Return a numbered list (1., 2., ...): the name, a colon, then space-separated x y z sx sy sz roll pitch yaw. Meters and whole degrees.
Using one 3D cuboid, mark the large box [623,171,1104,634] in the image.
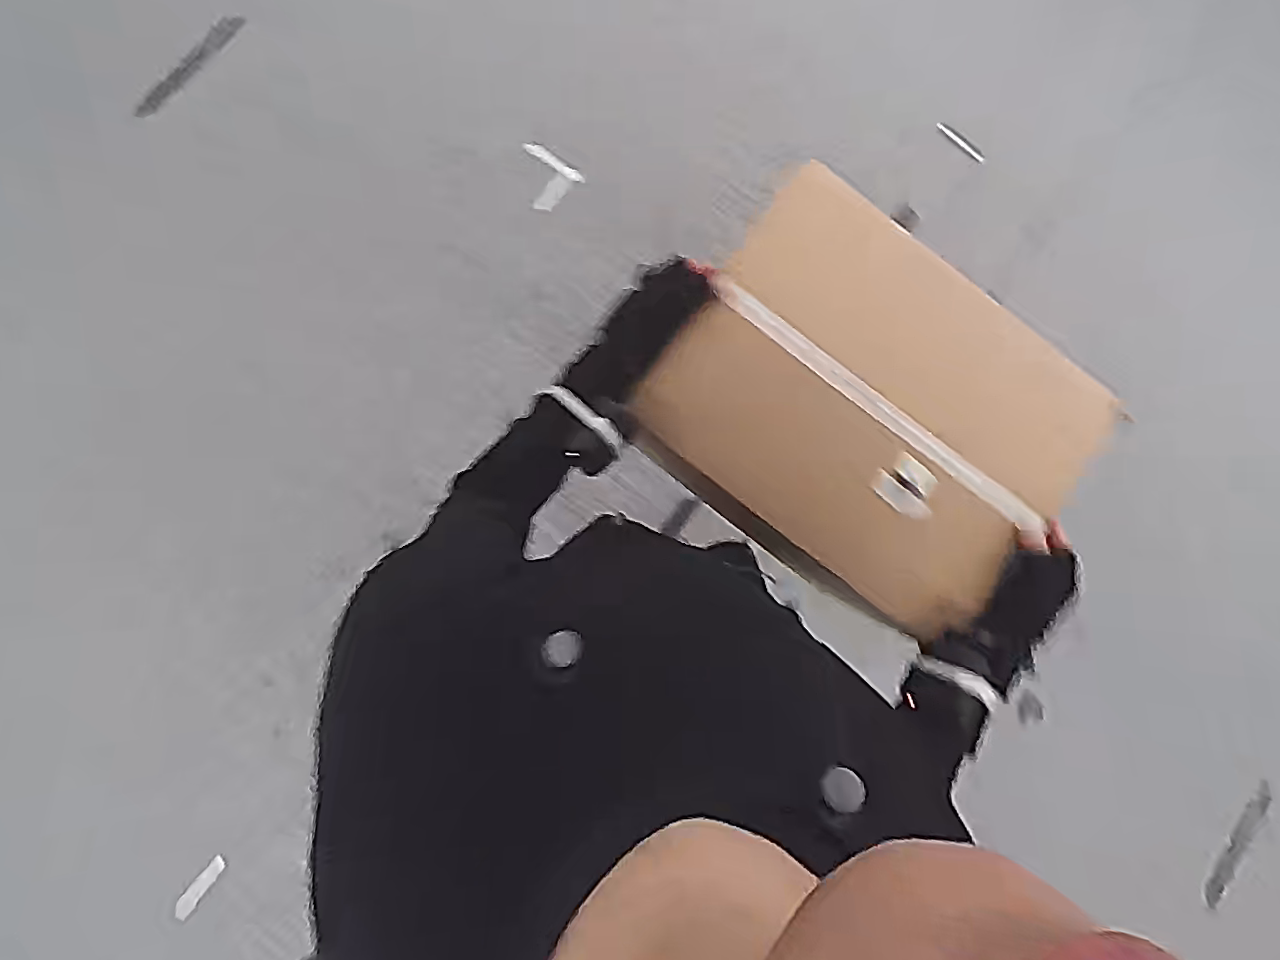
1. large box: 0.226 -0.078 0.696 0.408 0.320 0.320 38 89 -2
